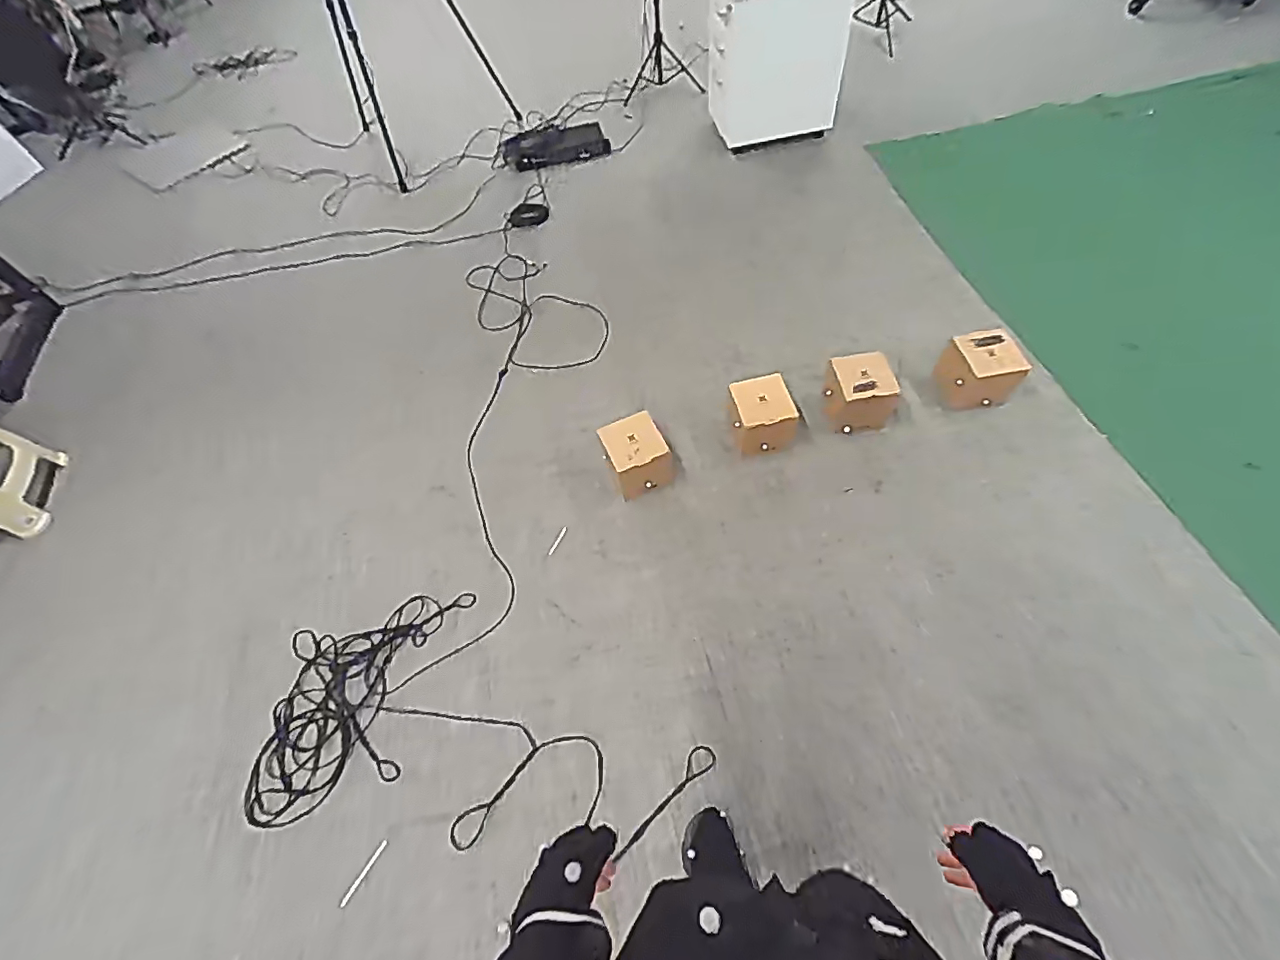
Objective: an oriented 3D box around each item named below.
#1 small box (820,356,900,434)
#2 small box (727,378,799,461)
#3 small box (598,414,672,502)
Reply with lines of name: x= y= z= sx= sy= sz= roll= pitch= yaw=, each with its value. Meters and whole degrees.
small box: x=0.679 y=-0.259 z=1.688 sx=0.168 sy=0.176 sz=0.179 roll=-7 pitch=57 yaw=1
small box: x=0.374 y=-0.185 z=1.677 sx=0.168 sy=0.176 sz=0.179 roll=-13 pitch=58 yaw=-2
small box: x=-0.013 y=-0.063 z=1.642 sx=0.168 sy=0.176 sz=0.179 roll=-23 pitch=58 yaw=-7
